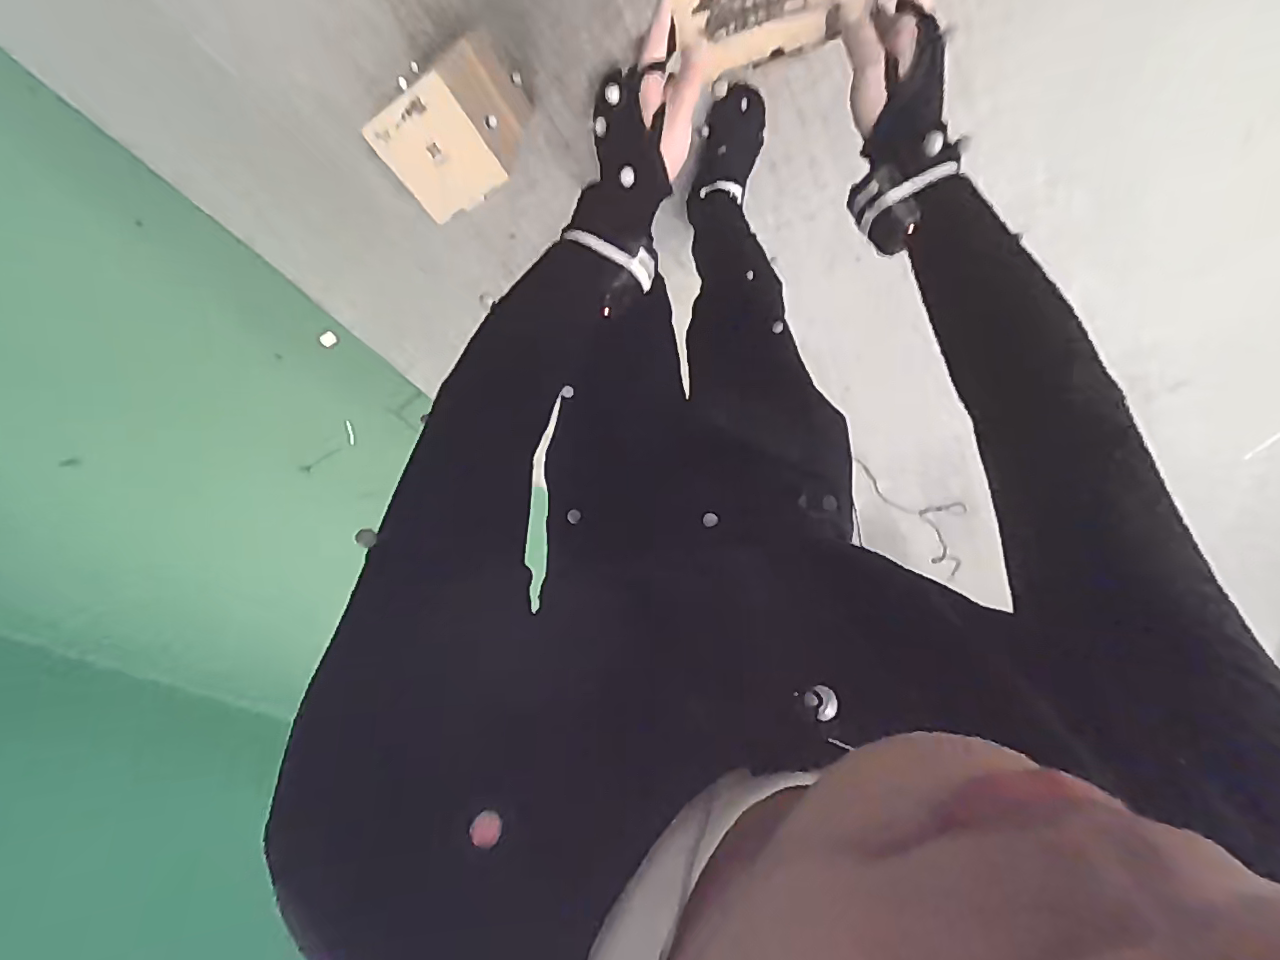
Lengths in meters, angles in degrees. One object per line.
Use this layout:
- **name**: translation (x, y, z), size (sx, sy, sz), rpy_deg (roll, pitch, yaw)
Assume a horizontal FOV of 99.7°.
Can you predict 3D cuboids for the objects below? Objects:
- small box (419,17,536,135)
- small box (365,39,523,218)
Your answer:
- **small box**: translation (-0.319, -0.727, 1.028), size (0.179, 0.176, 0.168), rpy_deg (-20, 136, 21)
- **small box**: translation (-0.321, -0.598, 0.926), size (0.168, 0.176, 0.179), rpy_deg (-19, 137, 22)
